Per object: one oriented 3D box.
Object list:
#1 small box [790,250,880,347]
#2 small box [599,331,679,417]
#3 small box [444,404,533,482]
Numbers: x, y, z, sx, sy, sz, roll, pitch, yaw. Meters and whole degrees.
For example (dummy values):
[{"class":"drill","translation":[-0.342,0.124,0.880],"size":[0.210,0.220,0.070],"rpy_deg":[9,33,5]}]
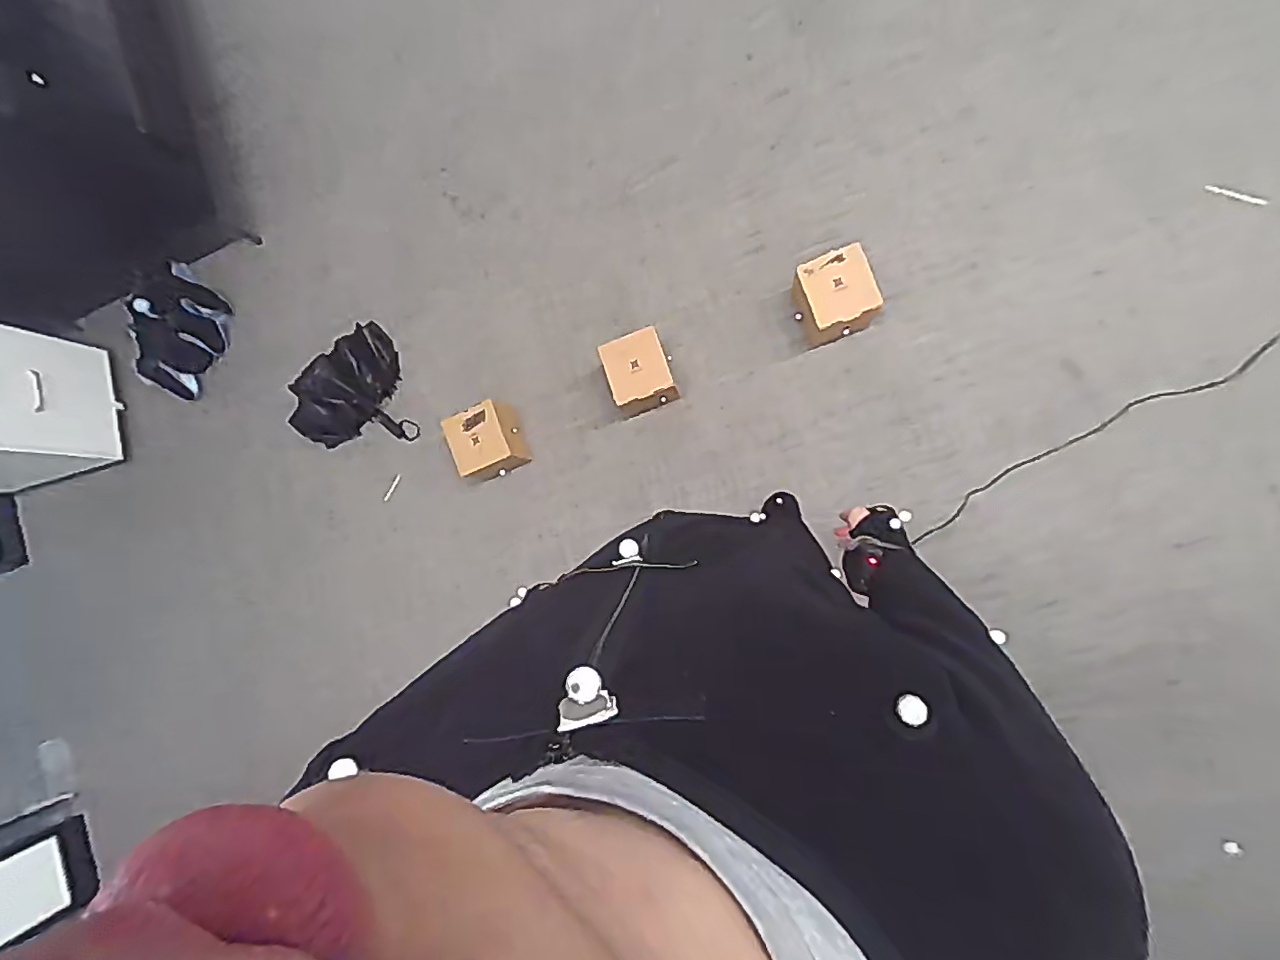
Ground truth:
[{"class":"small box","translation":[0.511,-0.469,1.439],"size":[0.168,0.176,0.179],"rpy_deg":[-19,84,9]},{"class":"small box","translation":[0.003,-0.287,1.527],"size":[0.168,0.176,0.179],"rpy_deg":[-21,82,8]},{"class":"small box","translation":[-0.441,-0.102,1.595],"size":[0.168,0.176,0.179],"rpy_deg":[-23,84,9]}]
